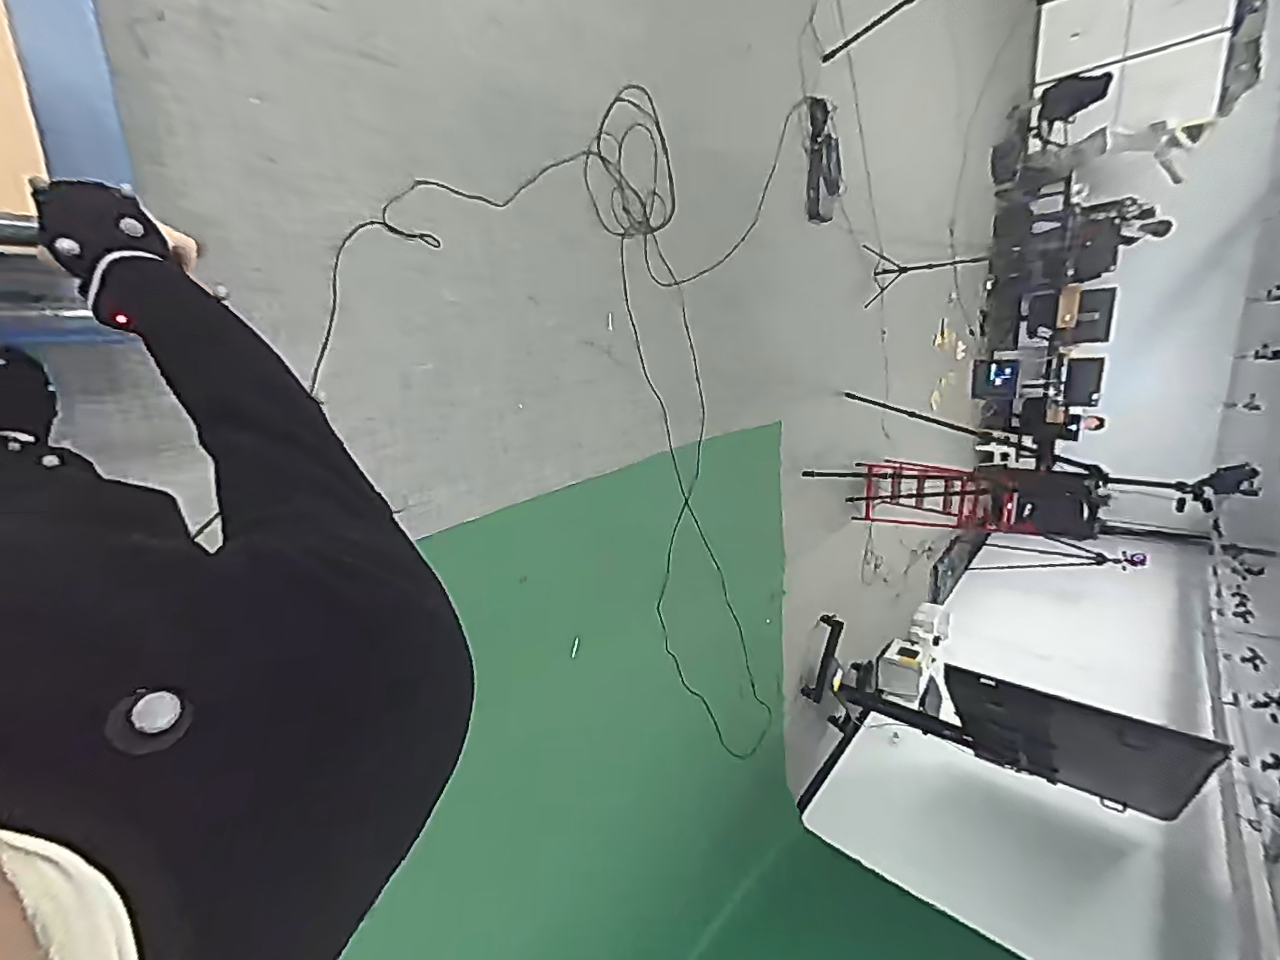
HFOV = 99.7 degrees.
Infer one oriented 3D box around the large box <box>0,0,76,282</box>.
[{"bbox_3d":[-1.033,-0.502,0.727,0.320,0.320,0.408,-16,107,-45],"label":"large box"}]
